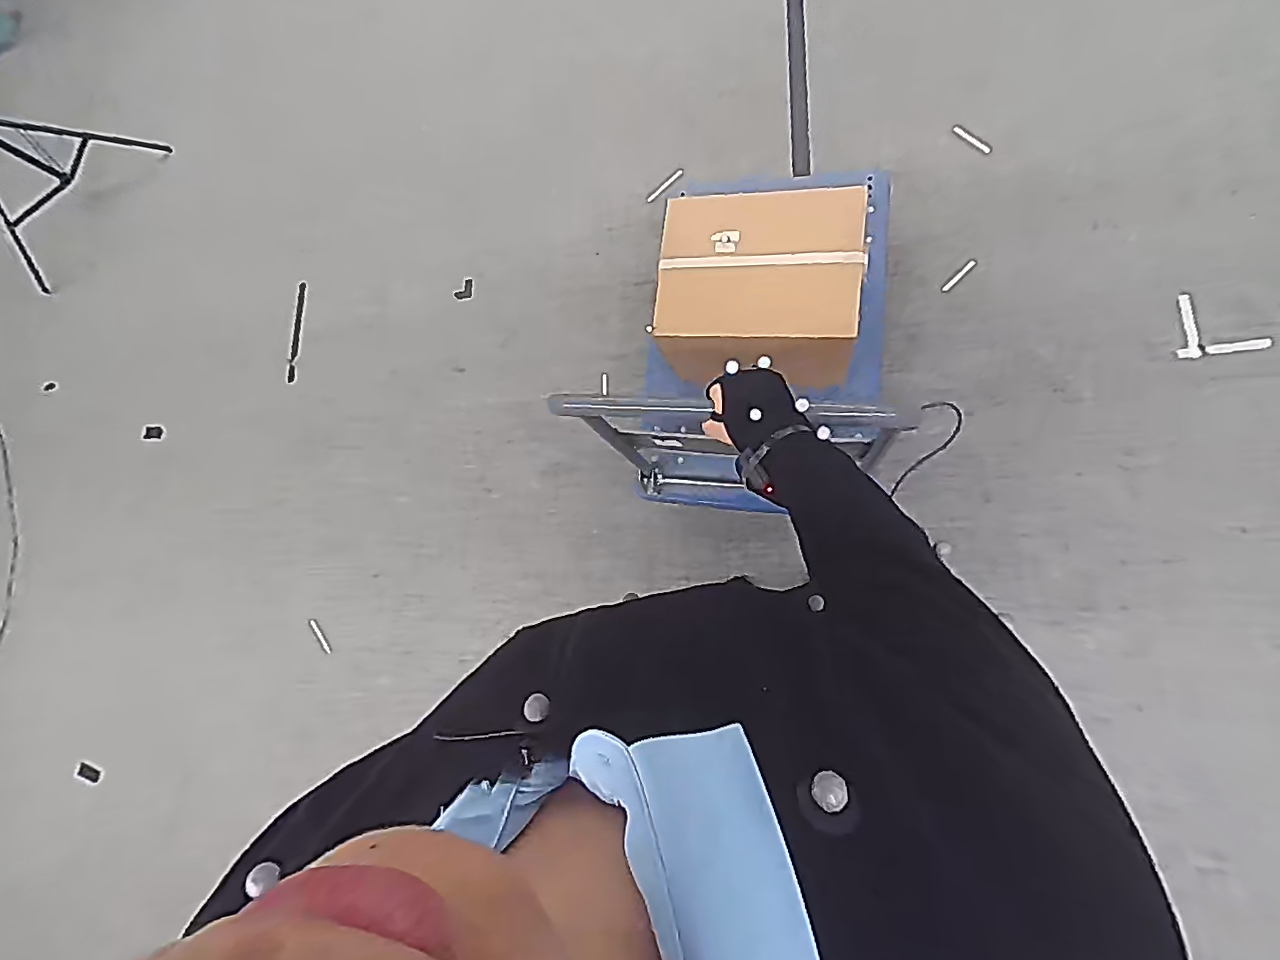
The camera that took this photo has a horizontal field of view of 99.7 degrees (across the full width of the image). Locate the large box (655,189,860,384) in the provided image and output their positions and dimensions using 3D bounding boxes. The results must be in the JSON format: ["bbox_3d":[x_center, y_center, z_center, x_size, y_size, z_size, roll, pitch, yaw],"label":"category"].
[{"bbox_3d":[0.278,-0.414,1.248,0.408,0.320,0.320,4,82,18],"label":"large box"}]
